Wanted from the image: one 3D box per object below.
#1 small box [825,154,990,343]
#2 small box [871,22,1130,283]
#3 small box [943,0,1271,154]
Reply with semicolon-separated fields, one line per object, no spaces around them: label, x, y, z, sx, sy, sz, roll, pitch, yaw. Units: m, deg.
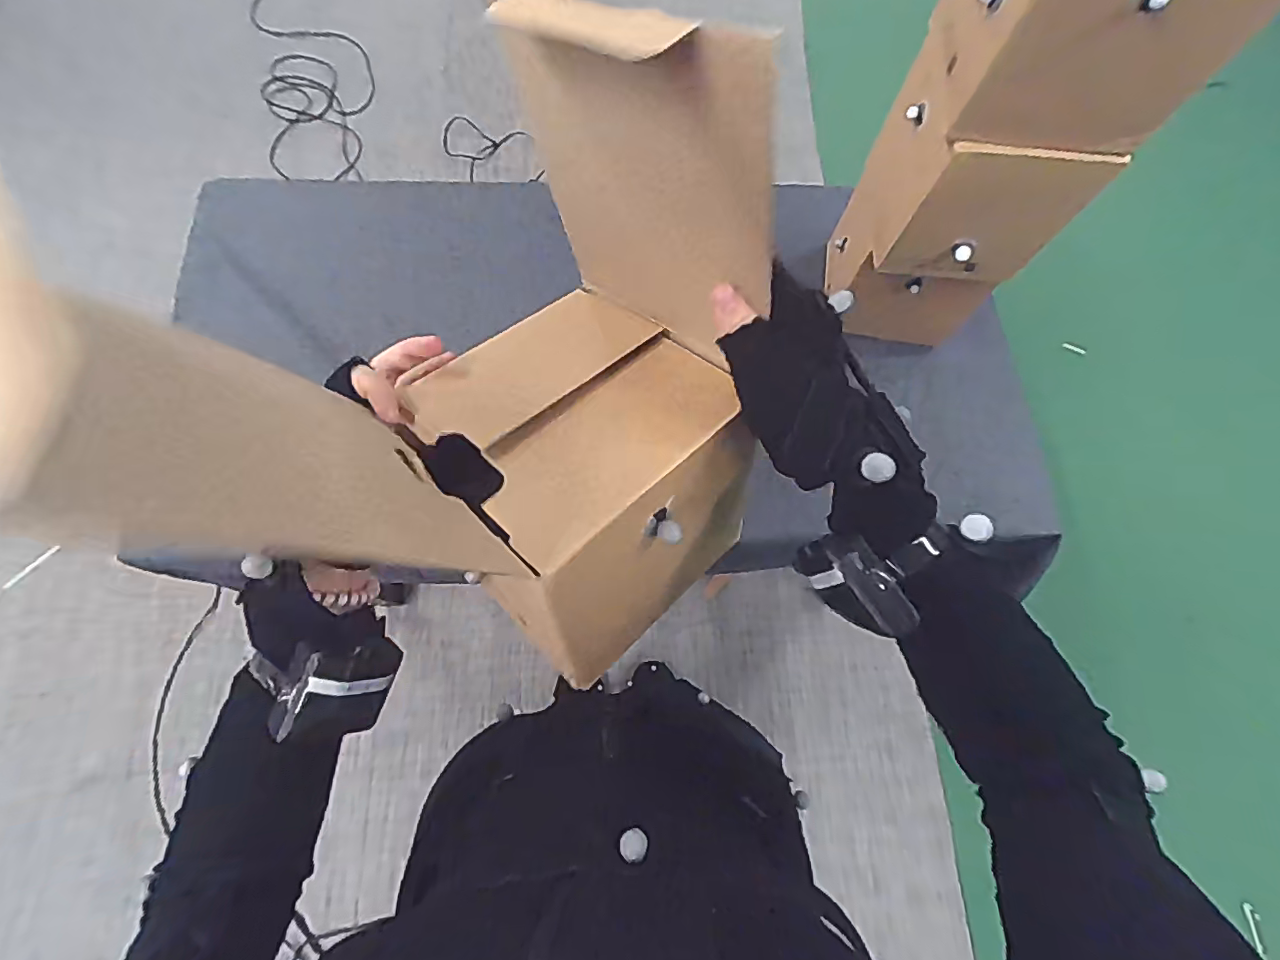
small box;0.374;-0.313;0.757;0.179;0.176;0.168;10;72;1
small box;0.371;-0.349;0.596;0.168;0.176;0.179;4;72;0
small box;0.373;-0.403;0.442;0.179;0.176;0.168;7;72;0
